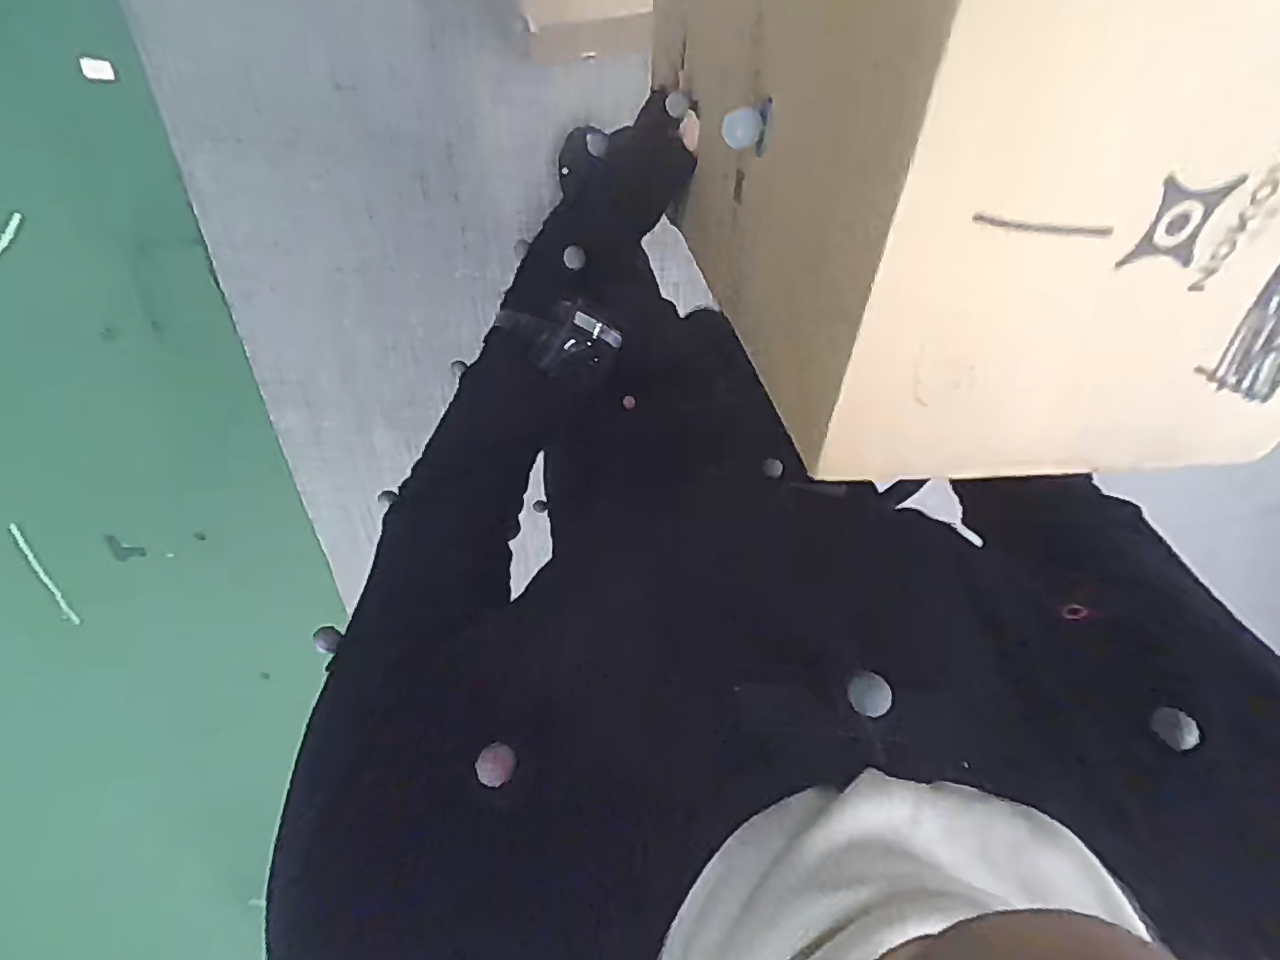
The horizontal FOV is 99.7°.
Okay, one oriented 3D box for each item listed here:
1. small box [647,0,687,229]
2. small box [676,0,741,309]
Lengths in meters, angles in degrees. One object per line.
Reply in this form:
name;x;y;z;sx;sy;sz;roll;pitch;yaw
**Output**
small box;0.101;-0.321;0.457;0.179;0.176;0.168;-3;131;-6
small box;0.116;-0.221;0.330;0.168;0.176;0.179;-3;131;-5
